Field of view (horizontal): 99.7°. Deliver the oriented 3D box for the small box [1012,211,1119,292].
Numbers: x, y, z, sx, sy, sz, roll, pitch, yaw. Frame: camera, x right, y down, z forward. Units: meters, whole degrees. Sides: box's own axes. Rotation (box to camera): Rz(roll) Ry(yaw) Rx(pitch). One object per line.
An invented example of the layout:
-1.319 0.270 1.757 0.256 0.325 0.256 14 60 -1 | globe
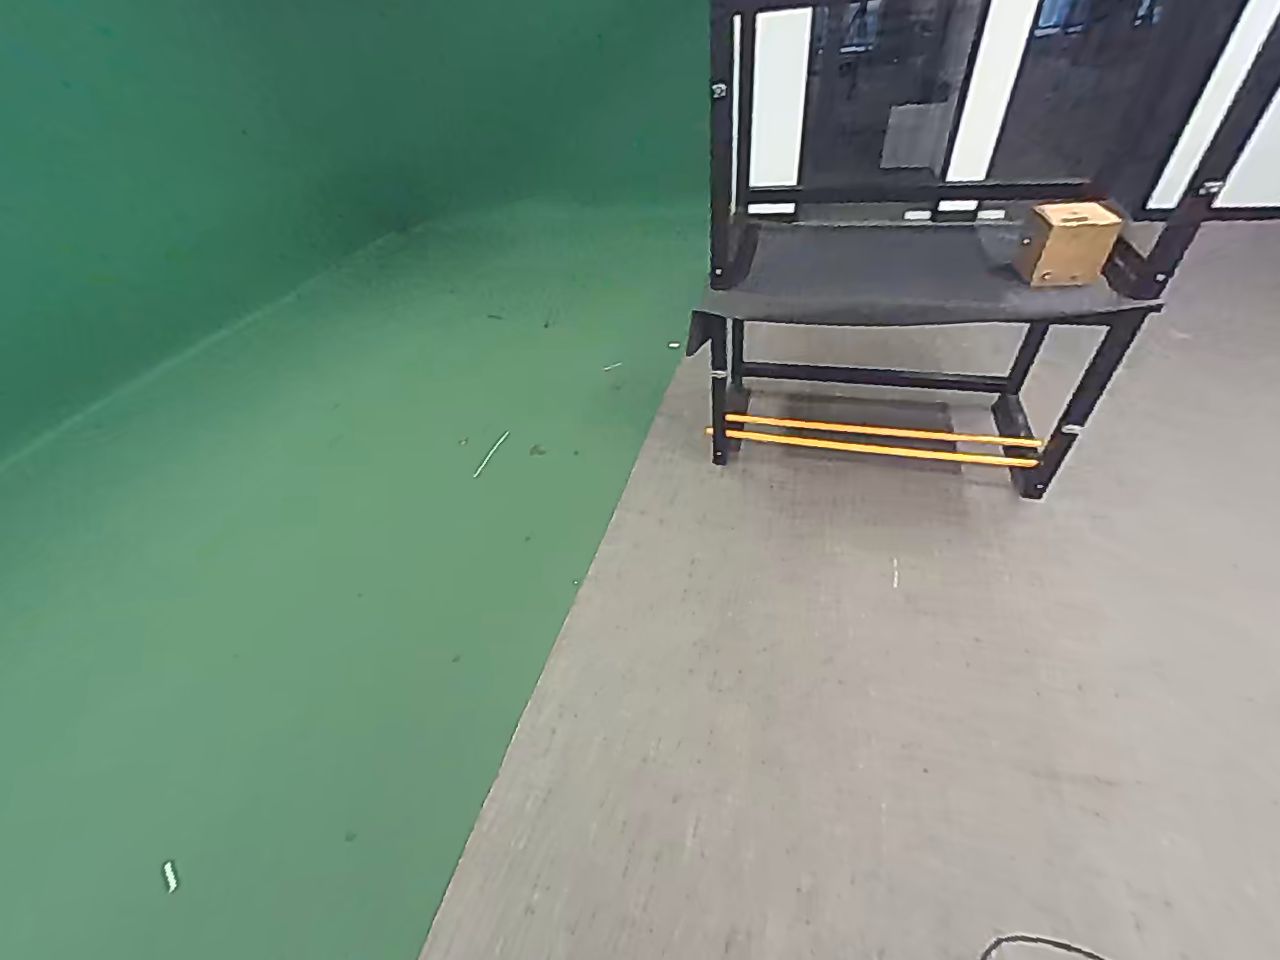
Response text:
1.203 -0.649 1.545 0.168 0.176 0.179 2 42 11 | small box
